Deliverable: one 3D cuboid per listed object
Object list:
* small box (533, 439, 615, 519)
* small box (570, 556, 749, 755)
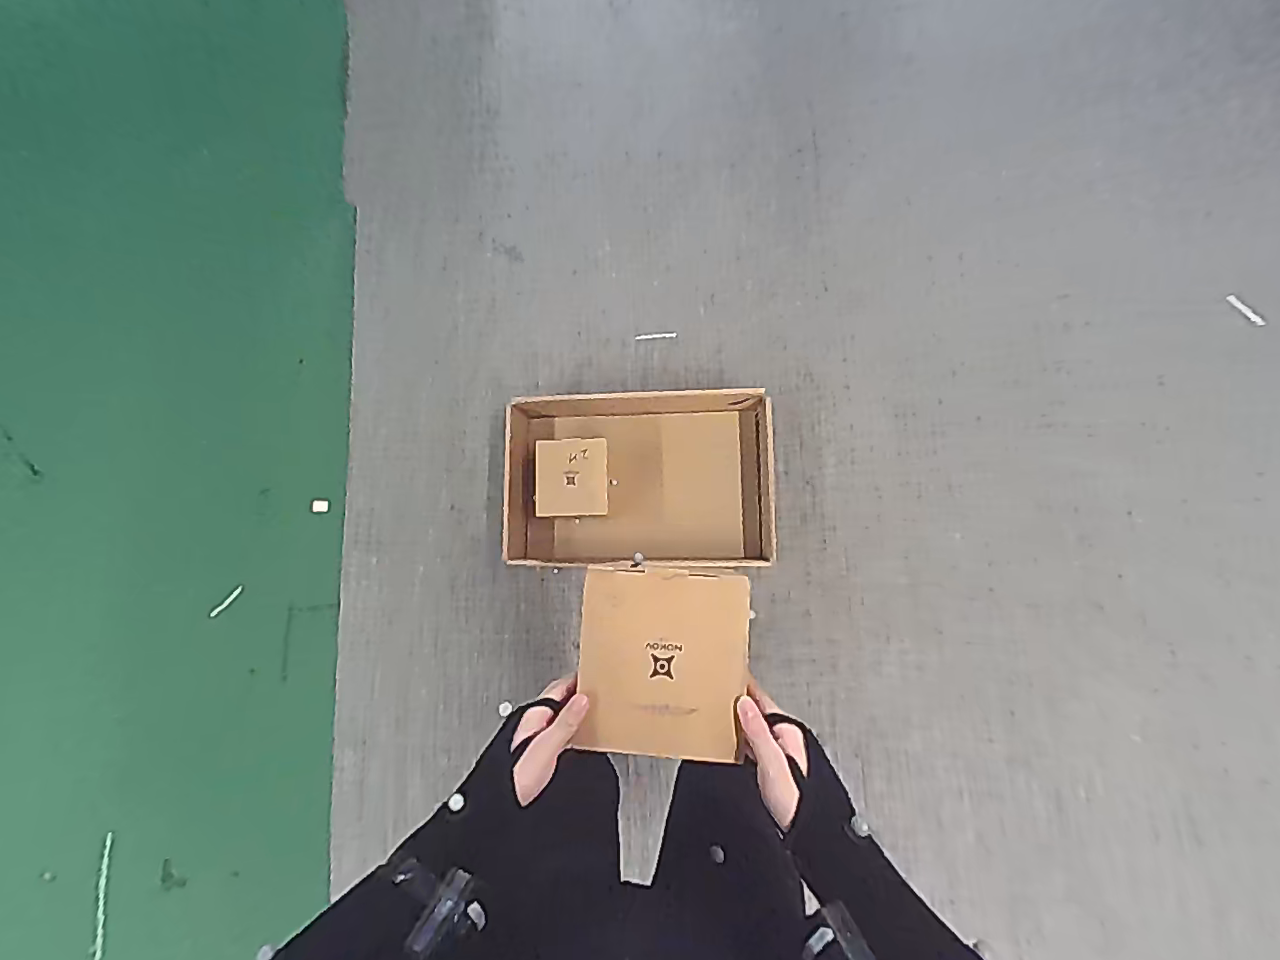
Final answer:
[{"bbox_3d":[-0.151,0.003,1.287,0.168,0.176,0.179,-1,82,5],"label":"small box"},{"bbox_3d":[0.024,0.179,0.602,0.168,0.176,0.179,3,82,5],"label":"small box"}]
